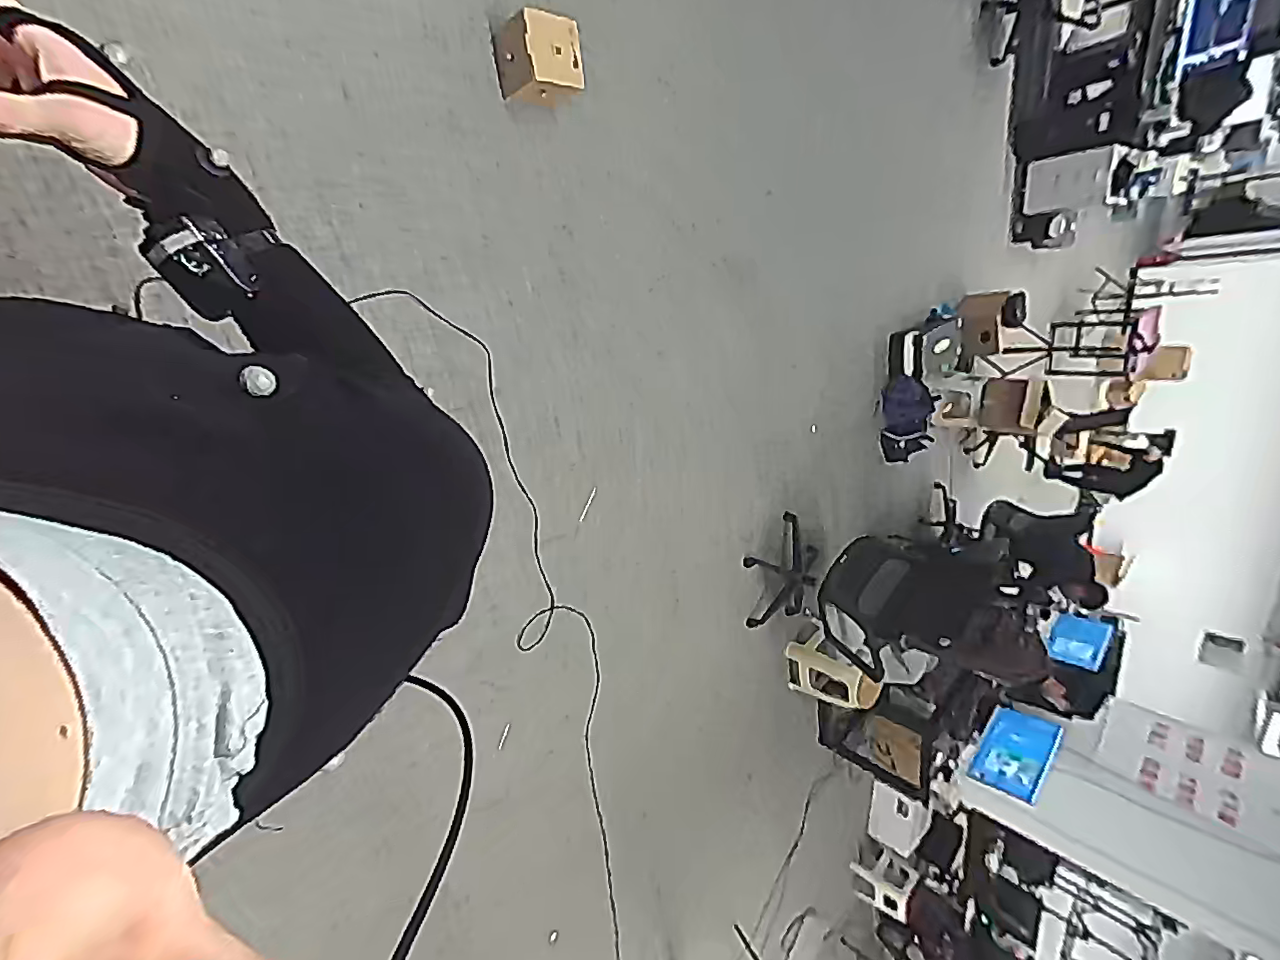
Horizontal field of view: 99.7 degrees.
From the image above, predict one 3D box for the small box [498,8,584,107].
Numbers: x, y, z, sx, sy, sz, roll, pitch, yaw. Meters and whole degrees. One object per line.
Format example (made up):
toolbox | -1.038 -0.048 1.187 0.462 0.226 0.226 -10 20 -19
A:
small box | -0.288 -1.188 1.535 0.179 0.176 0.168 -22 113 -36
